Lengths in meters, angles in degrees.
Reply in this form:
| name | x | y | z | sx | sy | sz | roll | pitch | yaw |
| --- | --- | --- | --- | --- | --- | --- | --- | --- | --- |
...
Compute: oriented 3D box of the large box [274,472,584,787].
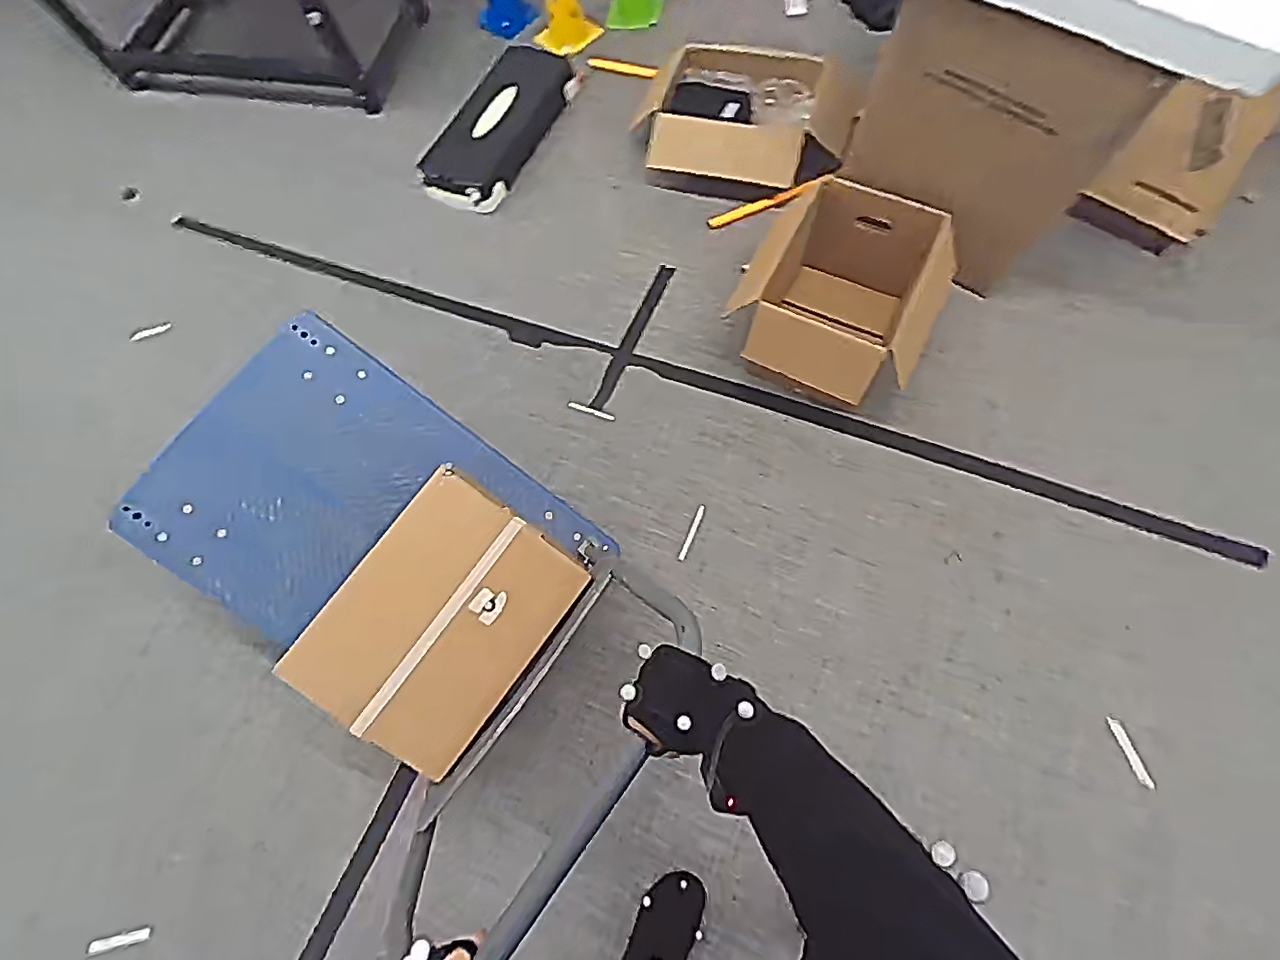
| name | x | y | z | sx | sy | sz | roll | pitch | yaw |
| --- | --- | --- | --- | --- | --- | --- | --- | --- | --- |
| large box | -0.350 | 0.248 | 1.006 | 0.320 | 0.320 | 0.408 | 37 | 80 | -6 |
